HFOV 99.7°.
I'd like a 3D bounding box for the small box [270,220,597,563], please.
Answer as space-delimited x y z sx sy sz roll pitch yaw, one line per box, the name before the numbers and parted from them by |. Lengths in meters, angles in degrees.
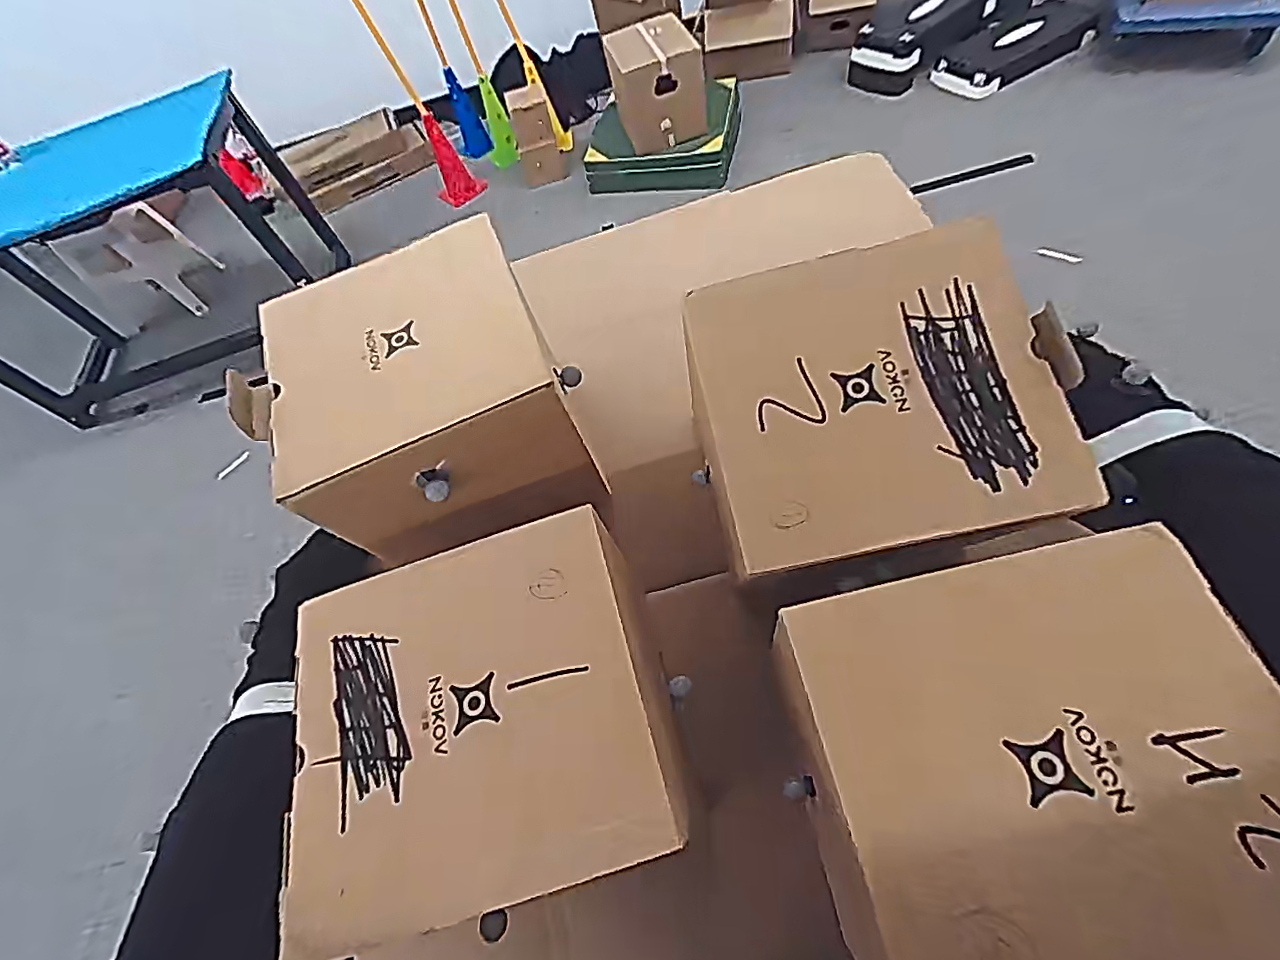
small box | -0.145 -0.056 0.427 0.179 0.176 0.168 -24 63 0
